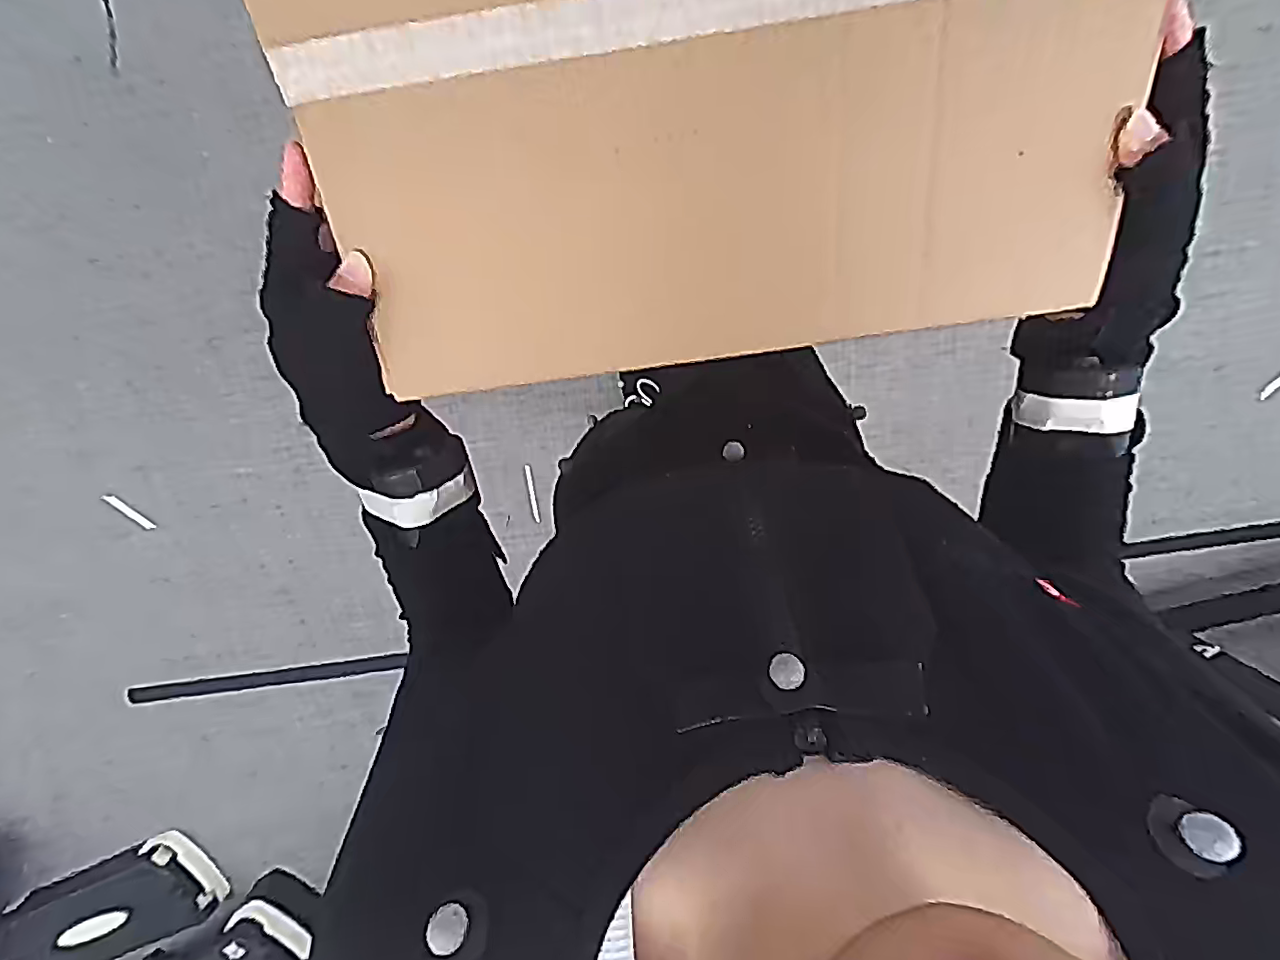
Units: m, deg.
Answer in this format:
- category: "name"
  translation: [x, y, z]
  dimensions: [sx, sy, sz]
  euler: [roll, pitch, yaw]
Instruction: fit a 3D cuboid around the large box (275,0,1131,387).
- category: "large box"
  translation: [0.027, -0.283, 0.389]
  dimensions: [0.408, 0.320, 0.320]
  euler: [-8, 117, 2]
